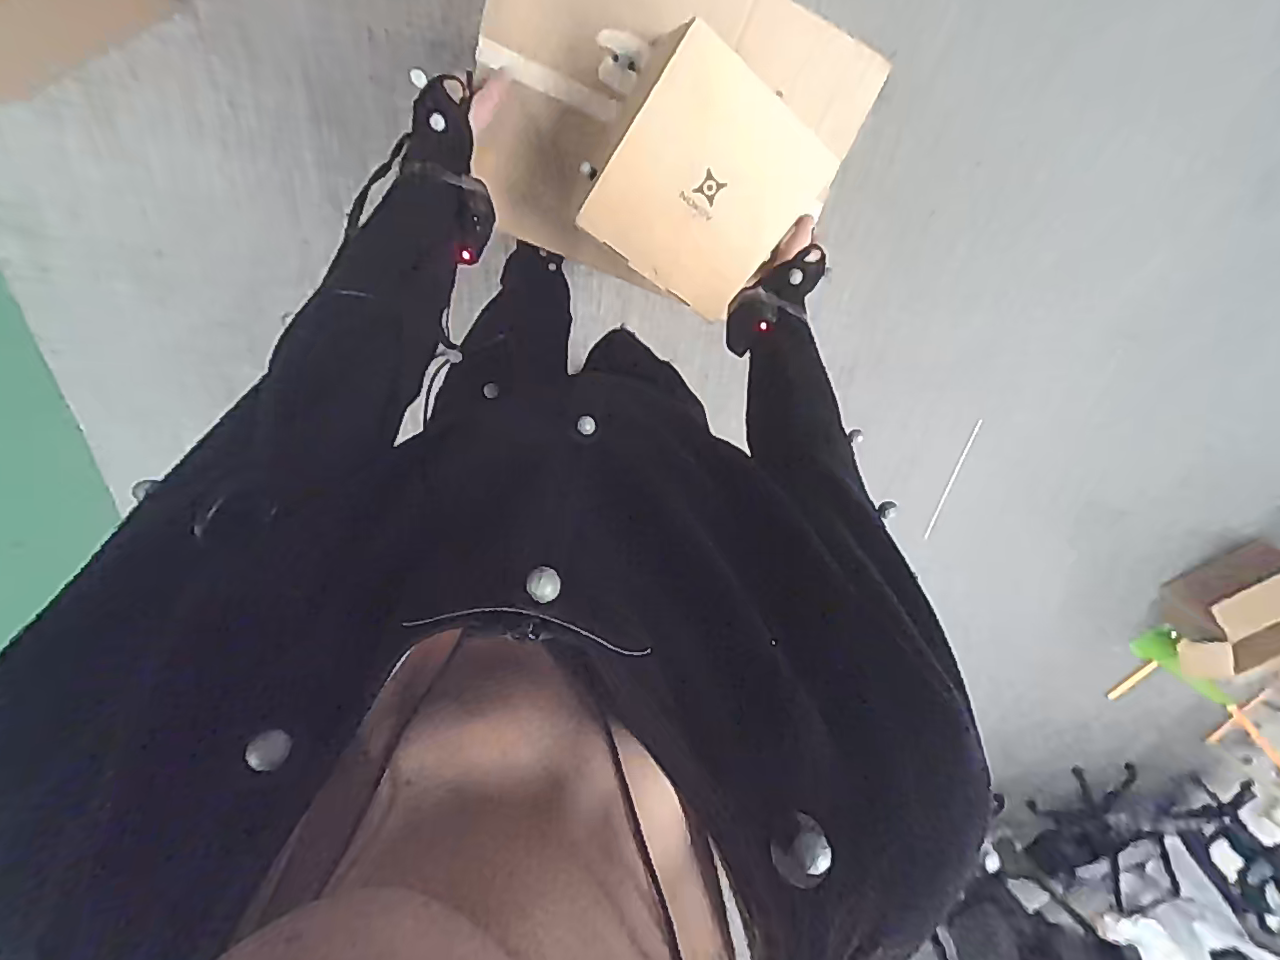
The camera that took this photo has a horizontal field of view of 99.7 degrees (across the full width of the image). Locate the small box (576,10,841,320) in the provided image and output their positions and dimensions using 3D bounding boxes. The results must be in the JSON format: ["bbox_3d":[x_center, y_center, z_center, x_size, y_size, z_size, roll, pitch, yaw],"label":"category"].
[{"bbox_3d":[0.049,-0.297,0.523,0.168,0.176,0.179,28,120,-24],"label":"small box"}]

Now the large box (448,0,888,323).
[{"bbox_3d":[0.012,-0.458,0.705,0.408,0.320,0.320,16,121,-16],"label":"large box"}]
